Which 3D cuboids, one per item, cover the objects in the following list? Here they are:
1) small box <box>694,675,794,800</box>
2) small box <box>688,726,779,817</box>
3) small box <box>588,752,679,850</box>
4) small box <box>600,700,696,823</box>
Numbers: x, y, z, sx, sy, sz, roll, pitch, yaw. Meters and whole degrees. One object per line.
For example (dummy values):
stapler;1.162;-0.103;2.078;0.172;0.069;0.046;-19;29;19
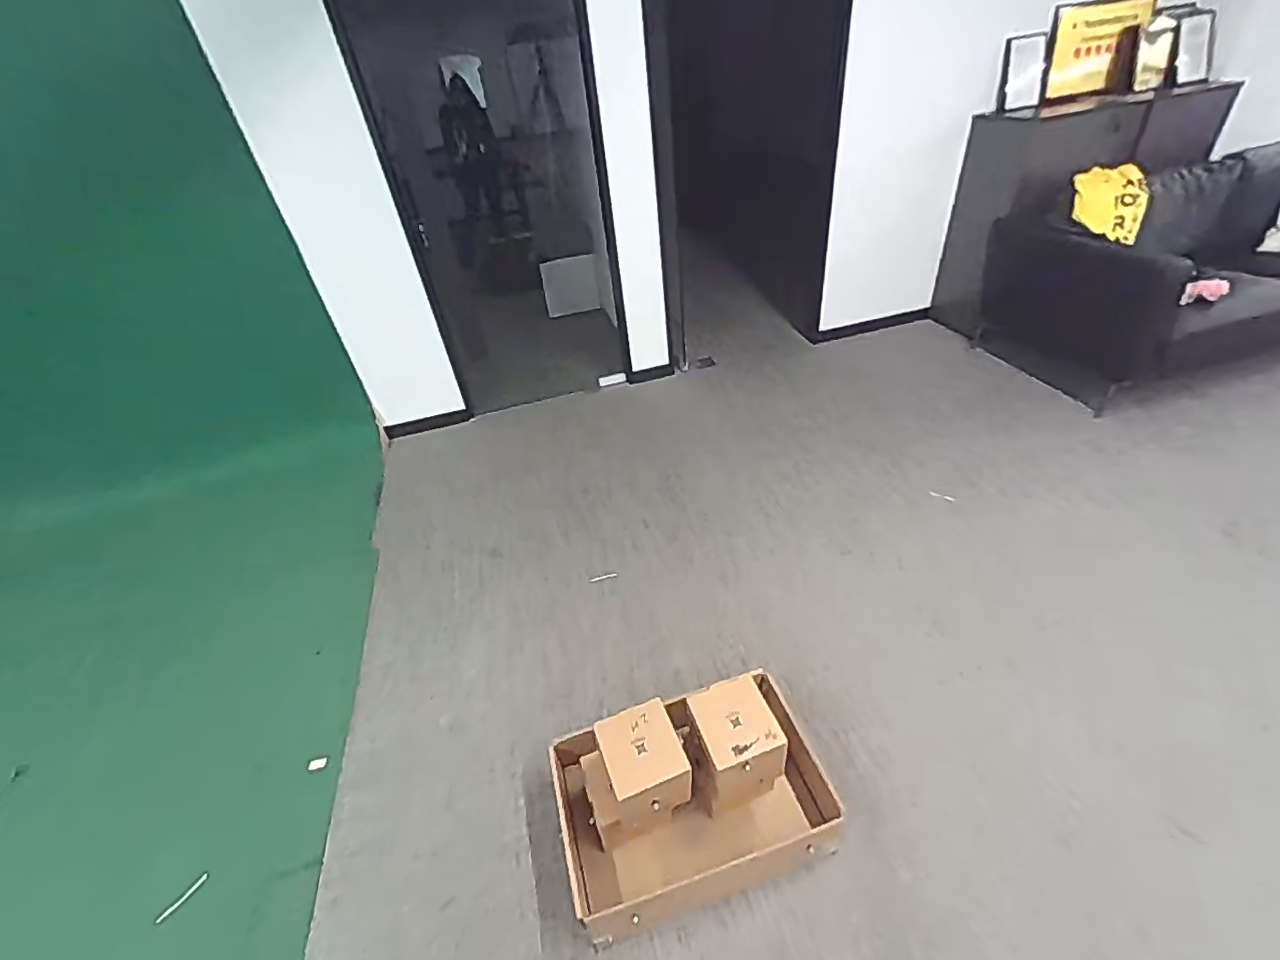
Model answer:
small box;0.233;0.590;1.240;0.168;0.176;0.179;-18;39;-9
small box;0.239;0.705;1.359;0.179;0.176;0.168;-20;40;-13
small box;-0.015;0.769;1.327;0.179;0.176;0.168;-16;40;-12
small box;0.021;0.640;1.219;0.168;0.176;0.179;-17;40;-14
